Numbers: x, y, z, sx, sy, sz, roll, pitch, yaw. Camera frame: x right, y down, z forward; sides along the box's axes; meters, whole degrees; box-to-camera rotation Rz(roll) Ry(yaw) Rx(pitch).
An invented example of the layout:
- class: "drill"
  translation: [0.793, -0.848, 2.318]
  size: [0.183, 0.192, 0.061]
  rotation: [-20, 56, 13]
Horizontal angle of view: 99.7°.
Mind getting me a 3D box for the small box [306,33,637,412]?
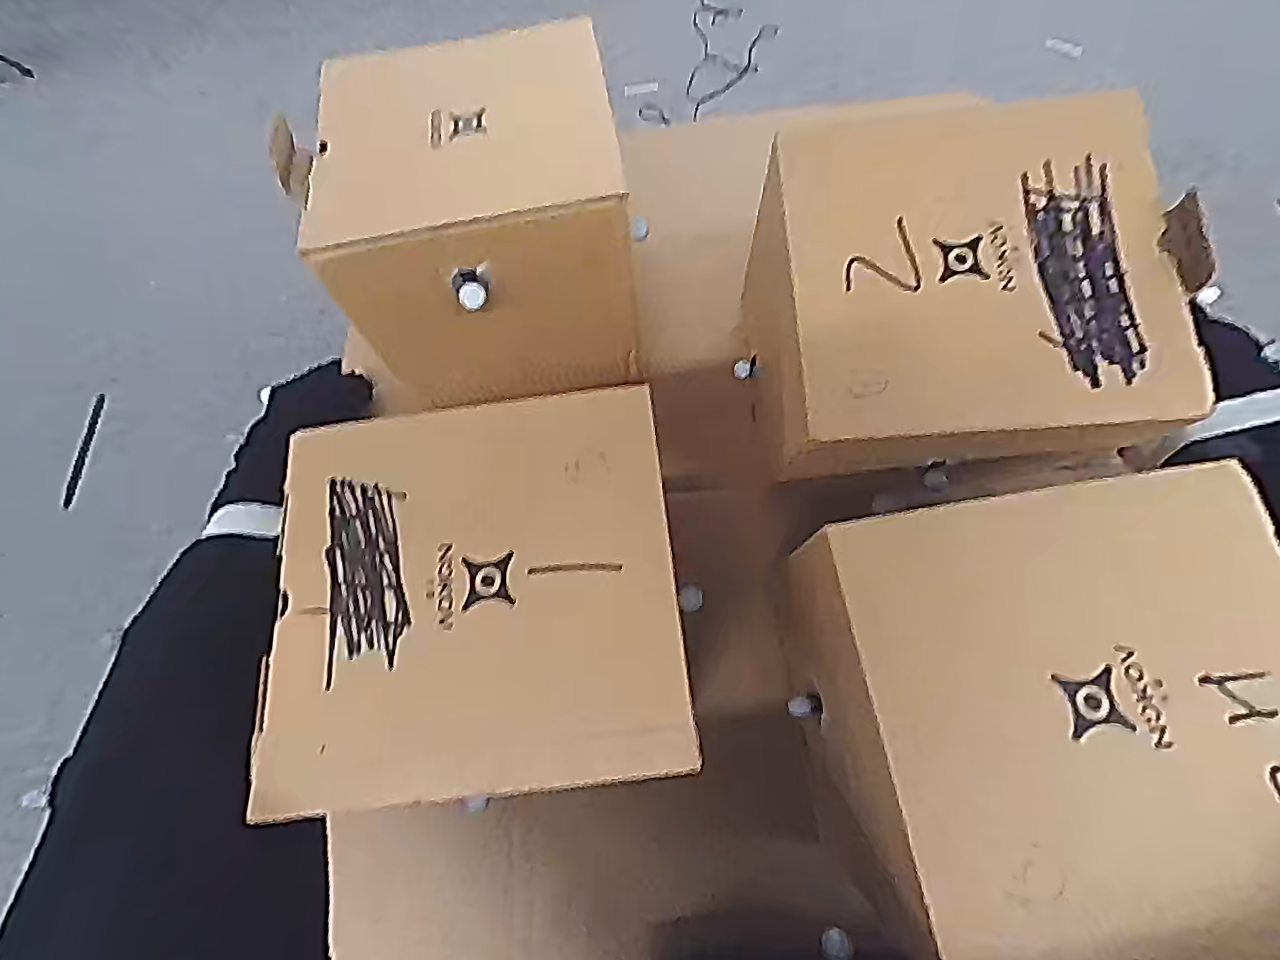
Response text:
- class: "small box"
  translation: [-0.100, -0.171, 0.394]
  size: [0.179, 0.176, 0.168]
  rotation: [-11, 65, 1]
